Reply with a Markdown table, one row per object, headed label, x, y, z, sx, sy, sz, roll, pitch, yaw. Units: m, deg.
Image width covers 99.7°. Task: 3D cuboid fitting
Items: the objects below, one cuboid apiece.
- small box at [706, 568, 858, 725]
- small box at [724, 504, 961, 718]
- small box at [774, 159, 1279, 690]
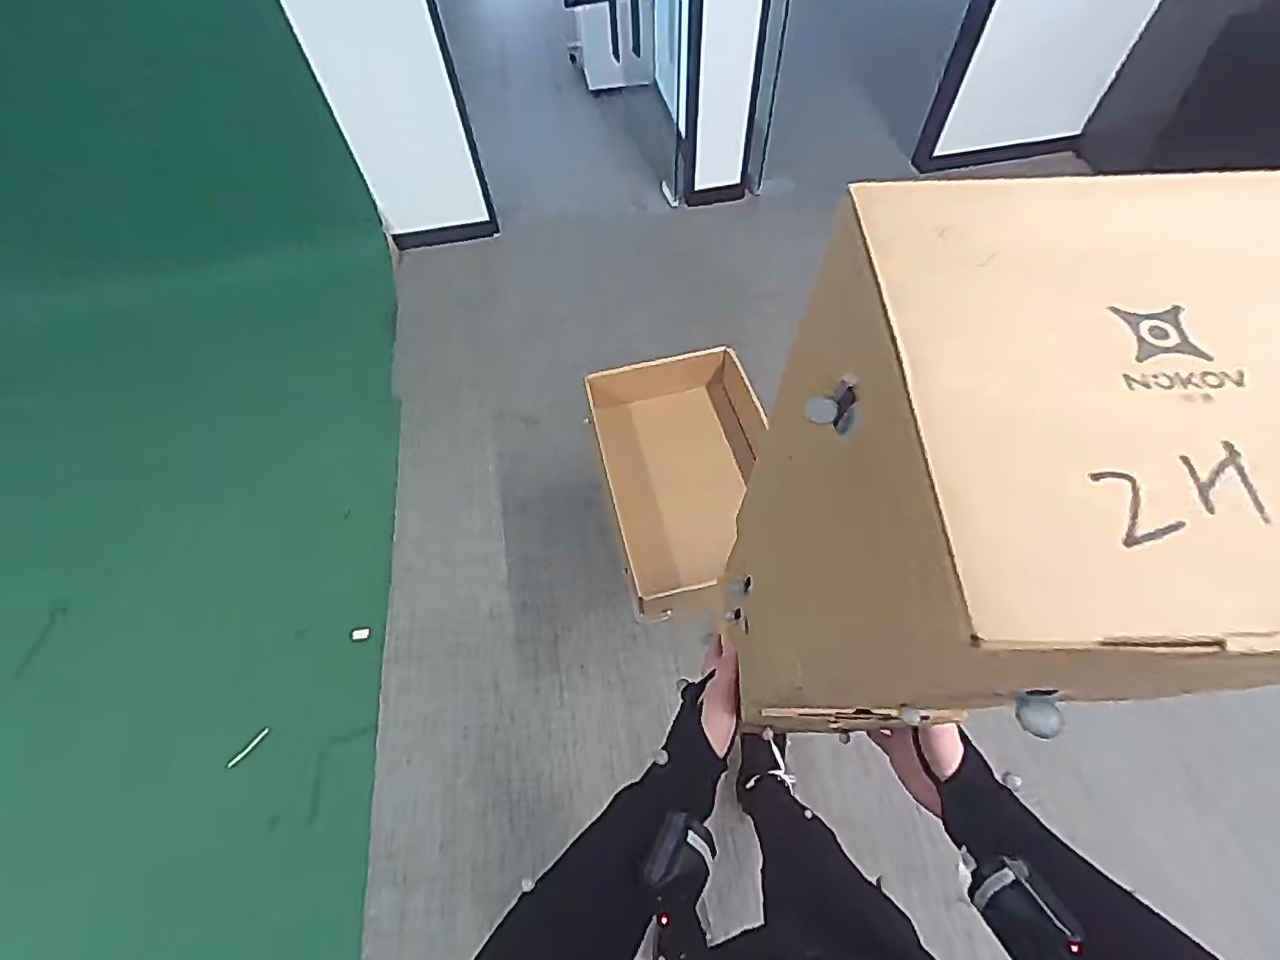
| label | x | y | z | sx | sy | sz | roll | pitch | yaw |
| --- | --- | --- | --- | --- | --- | --- | --- | --- | --- |
| small box | 0.176 | 0.214 | 0.681 | 0.179 | 0.176 | 0.168 | 0 | 63 | 0 |
| small box | 0.177 | 0.137 | 0.536 | 0.168 | 0.176 | 0.179 | 1 | 63 | 1 |
| small box | 0.163 | -0.009 | 0.241 | 0.168 | 0.176 | 0.179 | -1 | 64 | 1 |
